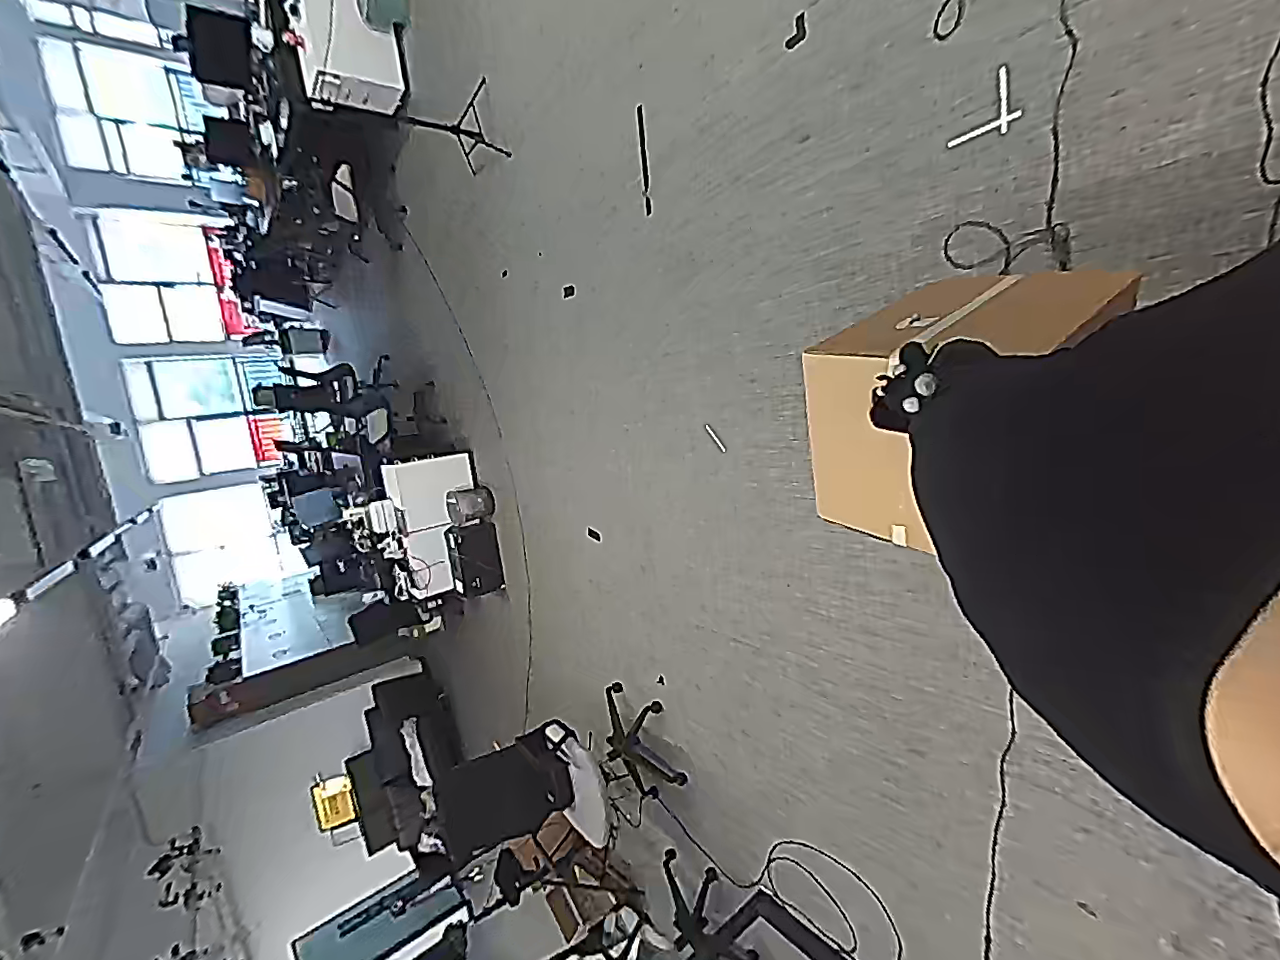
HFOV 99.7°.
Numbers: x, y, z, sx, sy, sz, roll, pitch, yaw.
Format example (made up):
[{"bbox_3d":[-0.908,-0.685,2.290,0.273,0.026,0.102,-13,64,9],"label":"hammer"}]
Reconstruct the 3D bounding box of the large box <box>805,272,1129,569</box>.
[{"bbox_3d":[0.532,-0.123,0.894,0.320,0.408,0.320,18,132,50],"label":"large box"}]
